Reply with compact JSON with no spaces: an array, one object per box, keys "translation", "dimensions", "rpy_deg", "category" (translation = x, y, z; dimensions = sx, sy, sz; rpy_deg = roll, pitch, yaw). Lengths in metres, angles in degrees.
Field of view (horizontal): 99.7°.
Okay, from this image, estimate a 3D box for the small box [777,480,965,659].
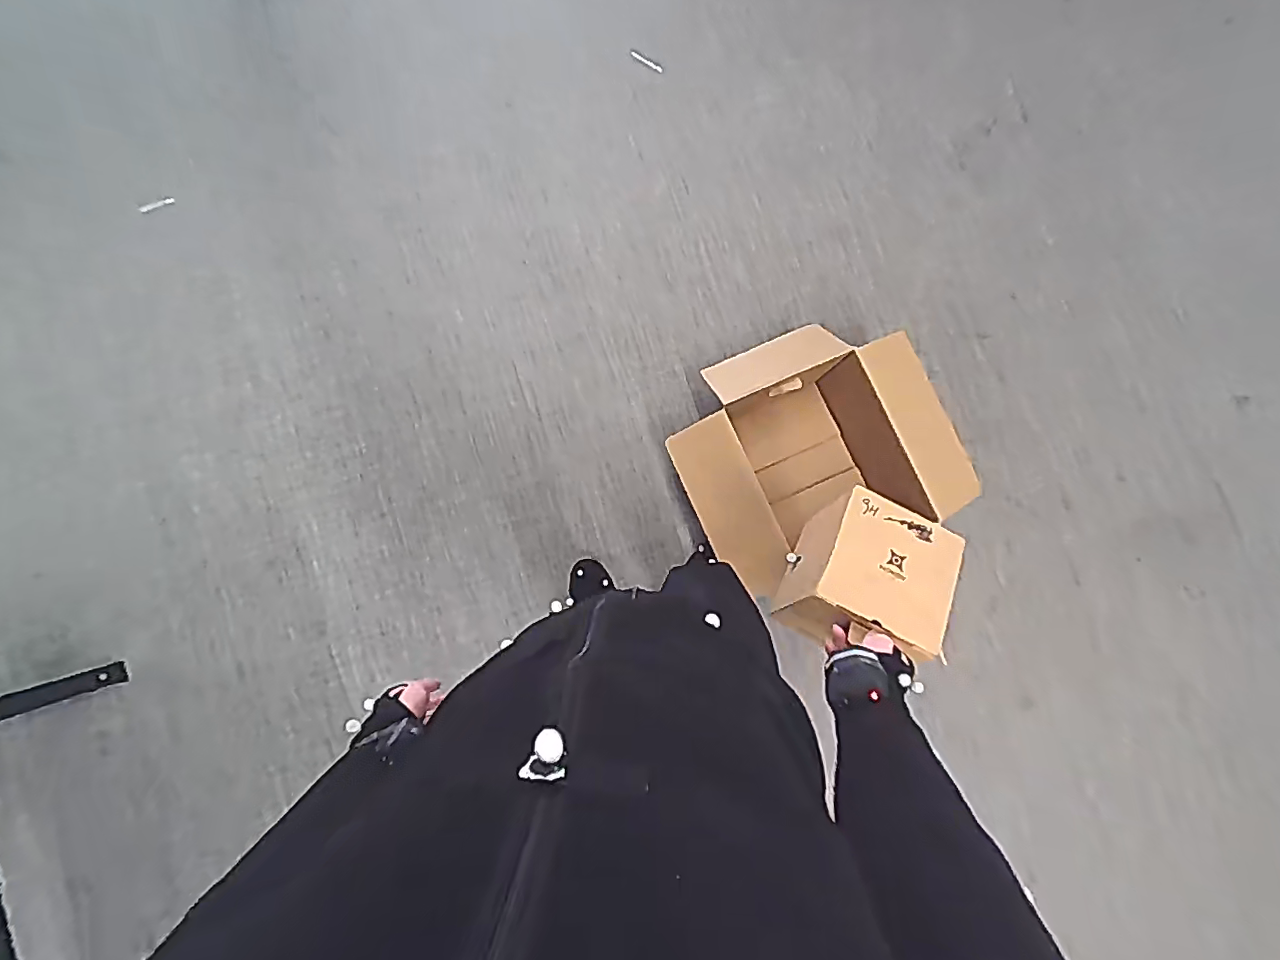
[{"translation":[0.315,0.136,0.768],"dimensions":[0.168,0.176,0.179],"rpy_deg":[29,66,5],"category":"small box"}]
